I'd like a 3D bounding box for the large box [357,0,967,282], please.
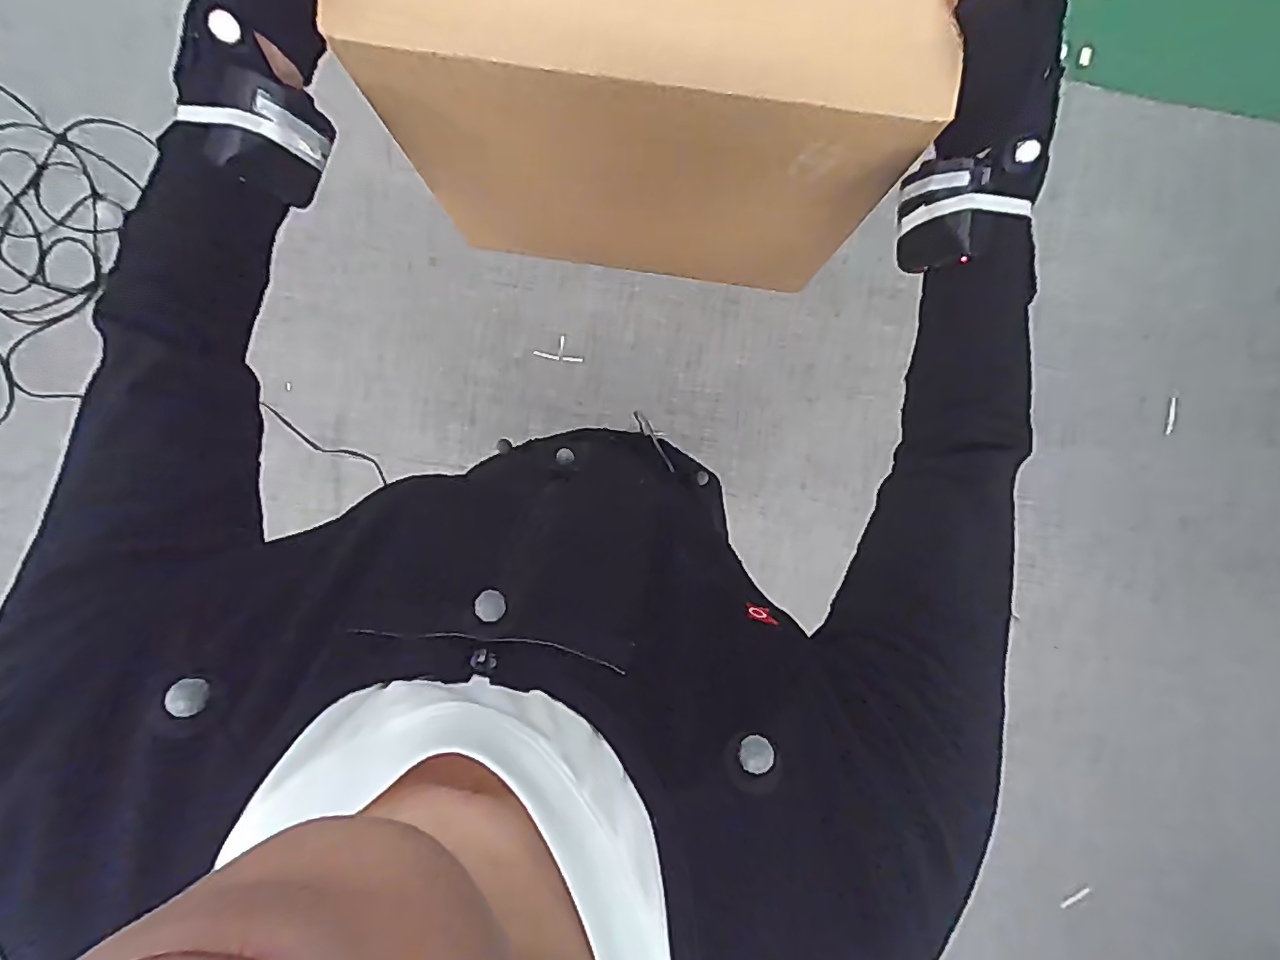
[{"bbox_3d":[0.023,-0.410,0.503,0.408,0.320,0.320,7,90,-2],"label":"large box"}]
